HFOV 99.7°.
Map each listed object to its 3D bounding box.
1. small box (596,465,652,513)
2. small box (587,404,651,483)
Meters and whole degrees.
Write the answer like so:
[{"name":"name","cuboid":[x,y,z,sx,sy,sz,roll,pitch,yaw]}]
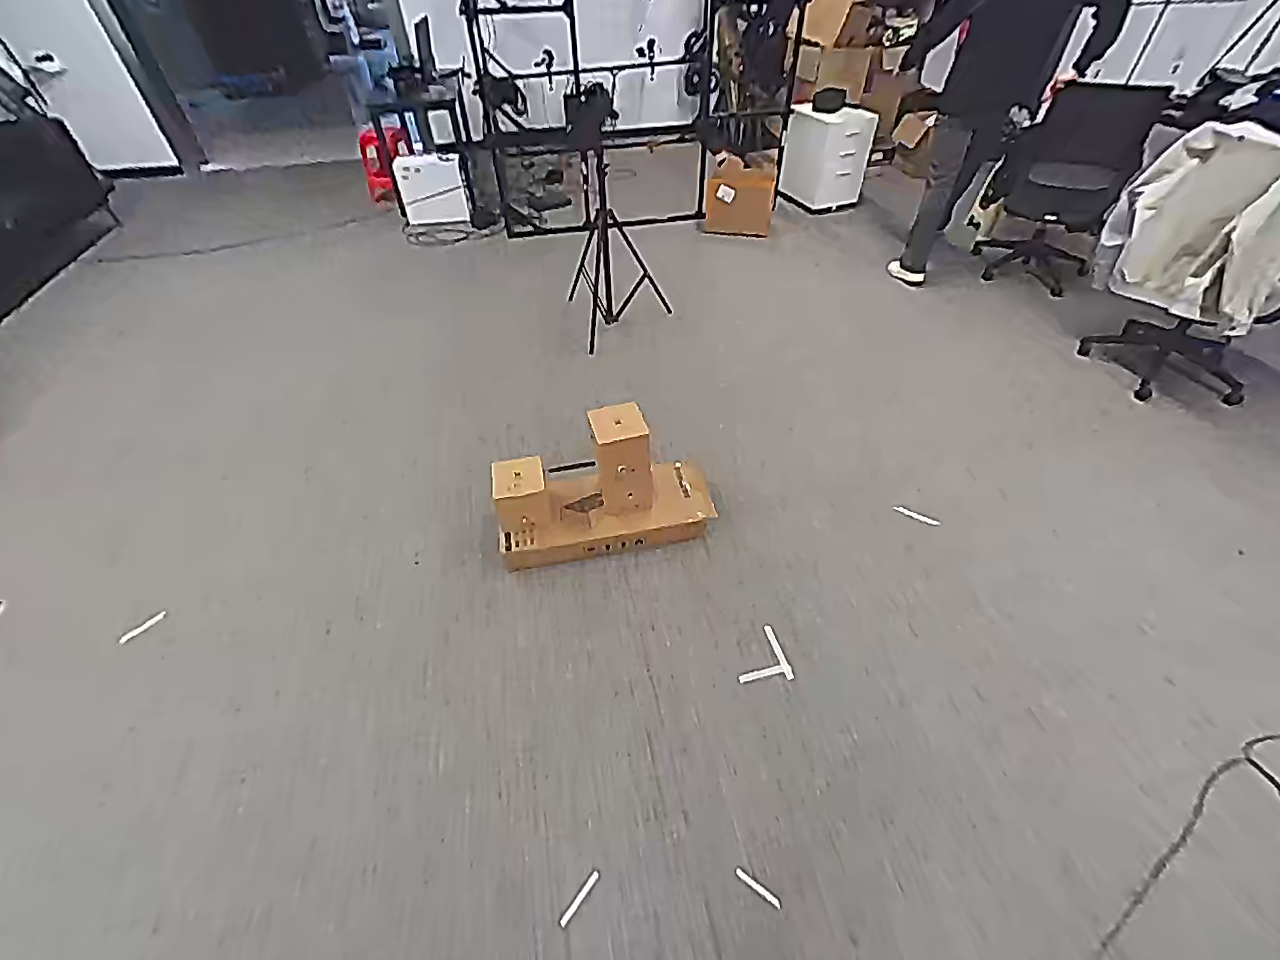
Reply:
[{"name":"small box","cuboid":[-0.056,-0.001,1.871,0.168,0.176,0.179,-11,46,-10]},{"name":"small box","cuboid":[-0.068,-0.117,1.755,0.168,0.176,0.179,-14,47,-11]}]
